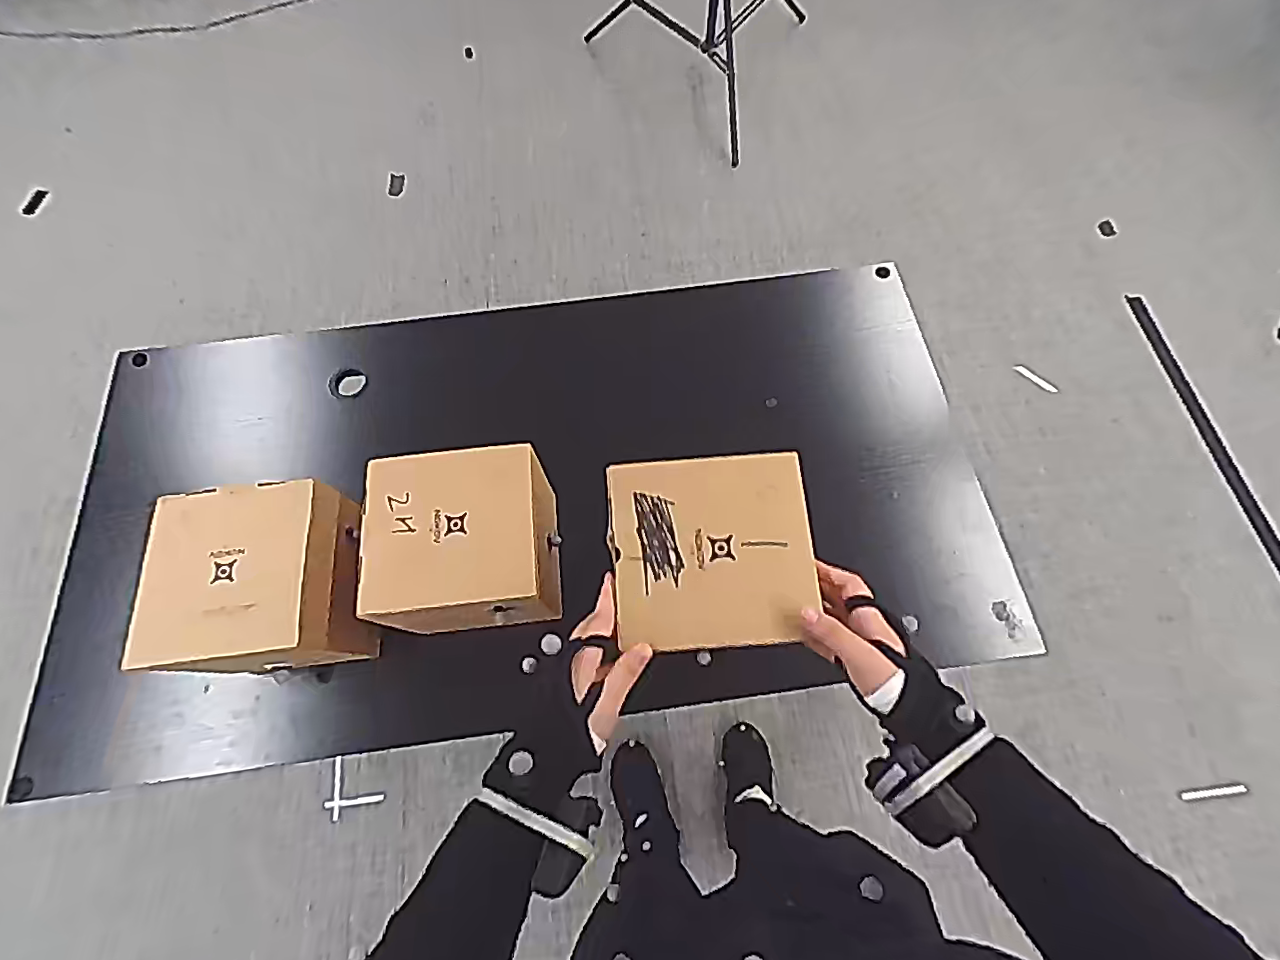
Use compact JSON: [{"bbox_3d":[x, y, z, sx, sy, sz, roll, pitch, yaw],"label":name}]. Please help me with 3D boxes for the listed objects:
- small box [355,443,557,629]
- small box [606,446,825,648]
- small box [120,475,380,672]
[{"bbox_3d":[-0.192,0.072,0.616,0.179,0.176,0.168,-6,68,-2],"label":"small box"},{"bbox_3d":[0.064,0.077,0.539,0.179,0.176,0.168,-4,72,1],"label":"small box"},{"bbox_3d":[-0.407,0.113,0.605,0.168,0.176,0.179,-8,70,-1],"label":"small box"}]
